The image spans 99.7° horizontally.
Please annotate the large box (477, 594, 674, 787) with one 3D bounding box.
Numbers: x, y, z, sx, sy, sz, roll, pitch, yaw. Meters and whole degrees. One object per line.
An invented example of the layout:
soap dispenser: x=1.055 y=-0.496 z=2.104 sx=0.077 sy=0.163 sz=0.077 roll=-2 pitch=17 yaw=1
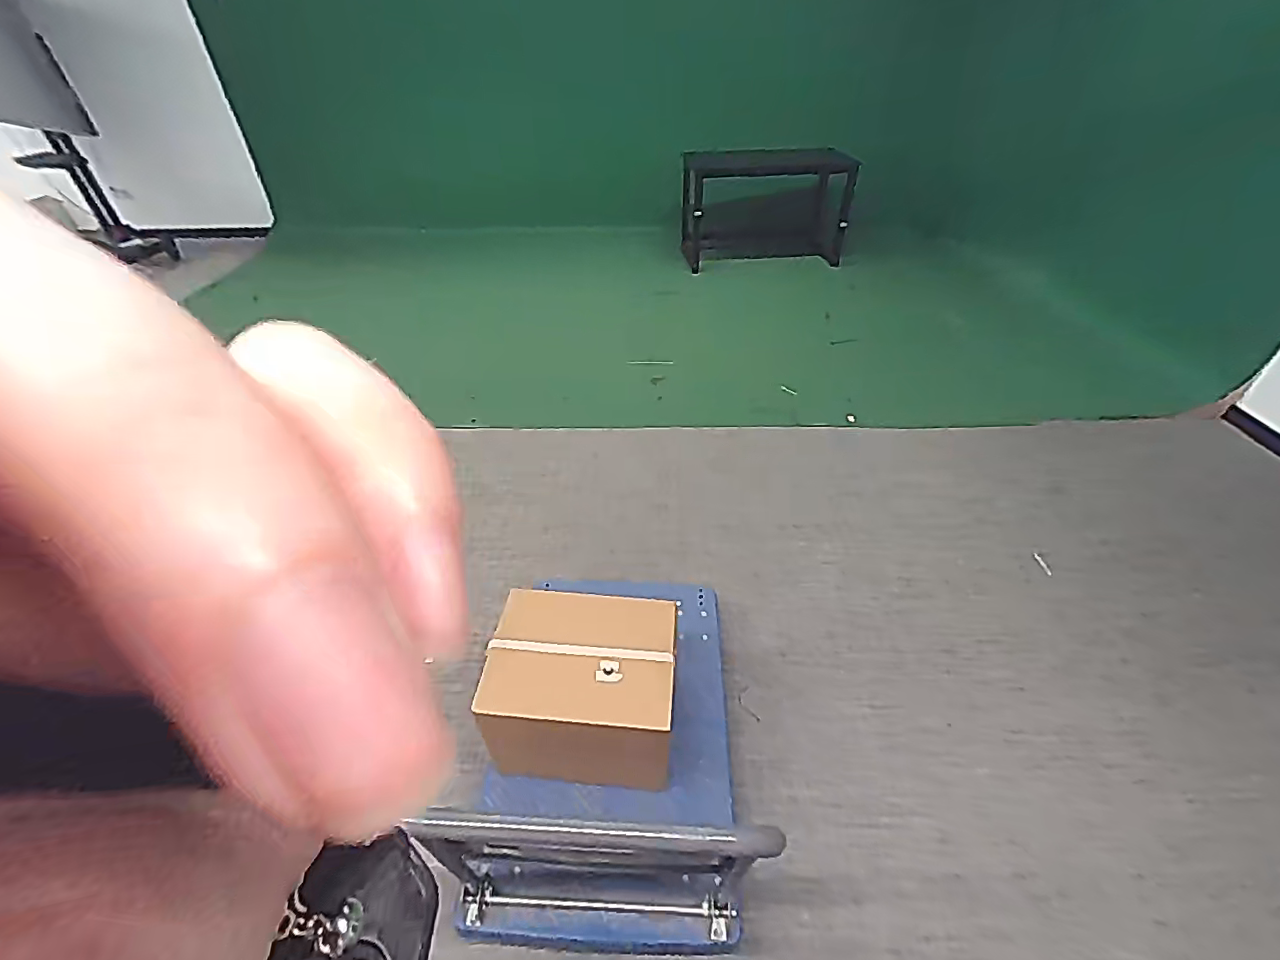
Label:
large box: x=-0.131 y=0.504 z=1.299 sx=0.408 sy=0.320 sz=0.320 roll=4 pitch=41 yaw=3
